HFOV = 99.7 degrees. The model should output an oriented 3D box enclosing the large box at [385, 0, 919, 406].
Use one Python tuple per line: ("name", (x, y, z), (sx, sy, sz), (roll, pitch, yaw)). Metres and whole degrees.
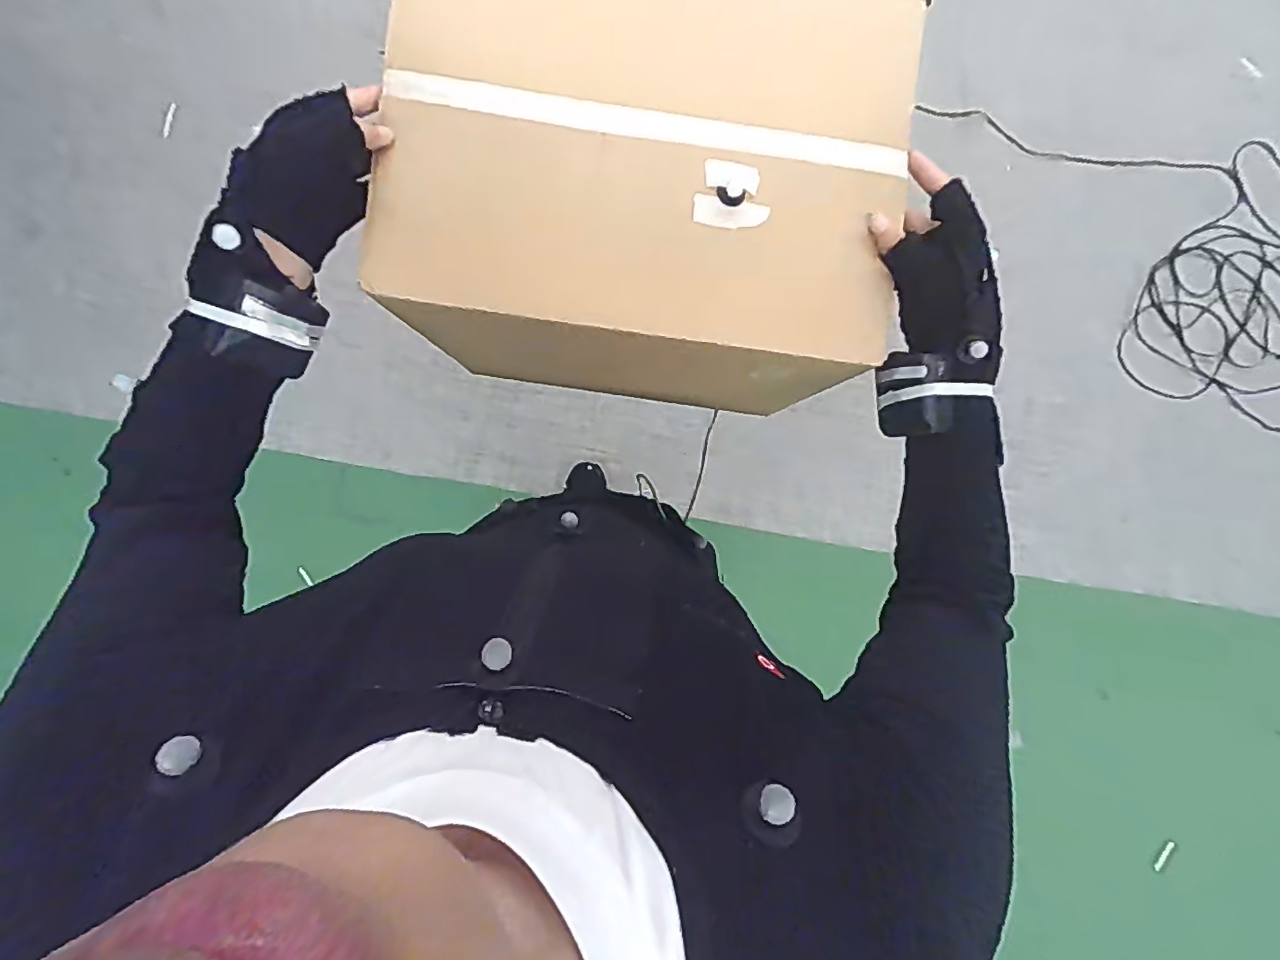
("large box", (0.006, -0.274, 0.577), (0.408, 0.320, 0.320), (7, 90, -3))
